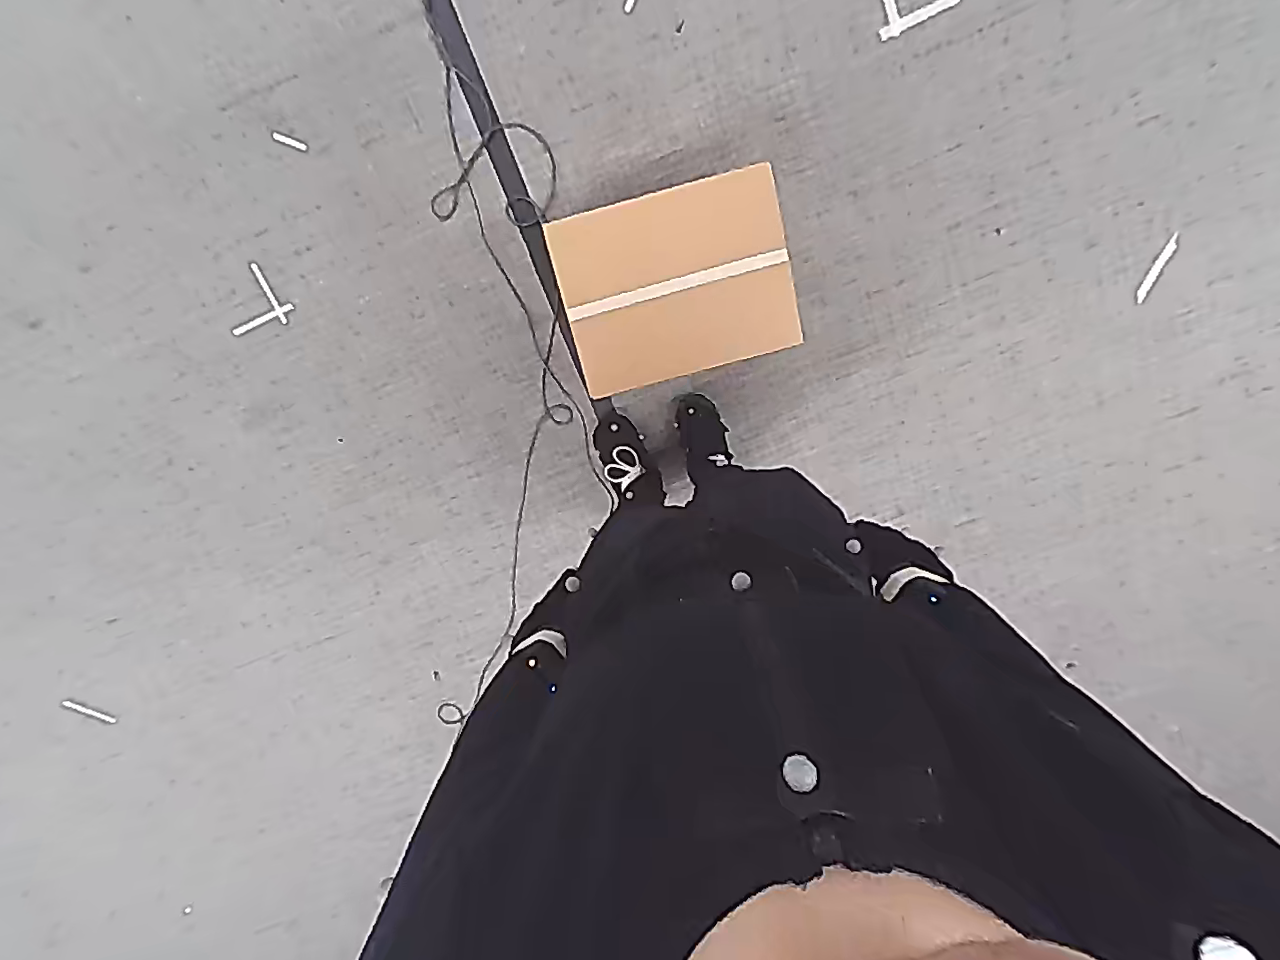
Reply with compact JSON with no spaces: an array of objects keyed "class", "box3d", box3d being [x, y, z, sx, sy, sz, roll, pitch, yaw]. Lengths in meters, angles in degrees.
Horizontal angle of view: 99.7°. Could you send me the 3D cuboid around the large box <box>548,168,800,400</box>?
[{"class":"large box","box3d":[0.063,-0.377,1.115,0.408,0.320,0.320,-15,105,2]}]
